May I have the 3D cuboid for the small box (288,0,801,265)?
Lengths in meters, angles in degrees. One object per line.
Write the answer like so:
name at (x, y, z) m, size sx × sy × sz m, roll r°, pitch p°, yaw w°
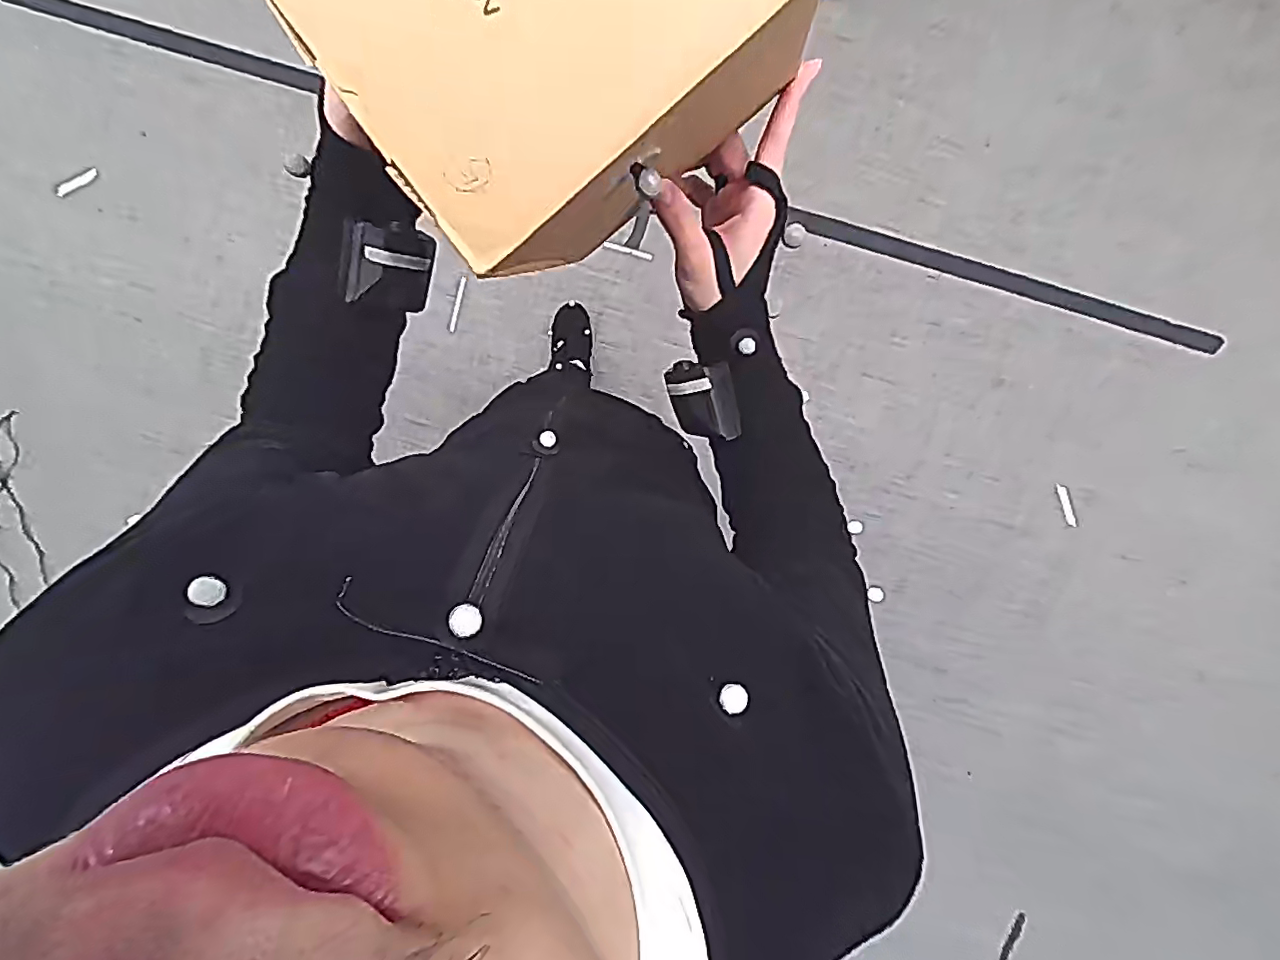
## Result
small box at (-0.035, -0.235, 0.277) m, size 0.179 × 0.176 × 0.168 m, roll -32°, pitch 106°, yaw 21°
